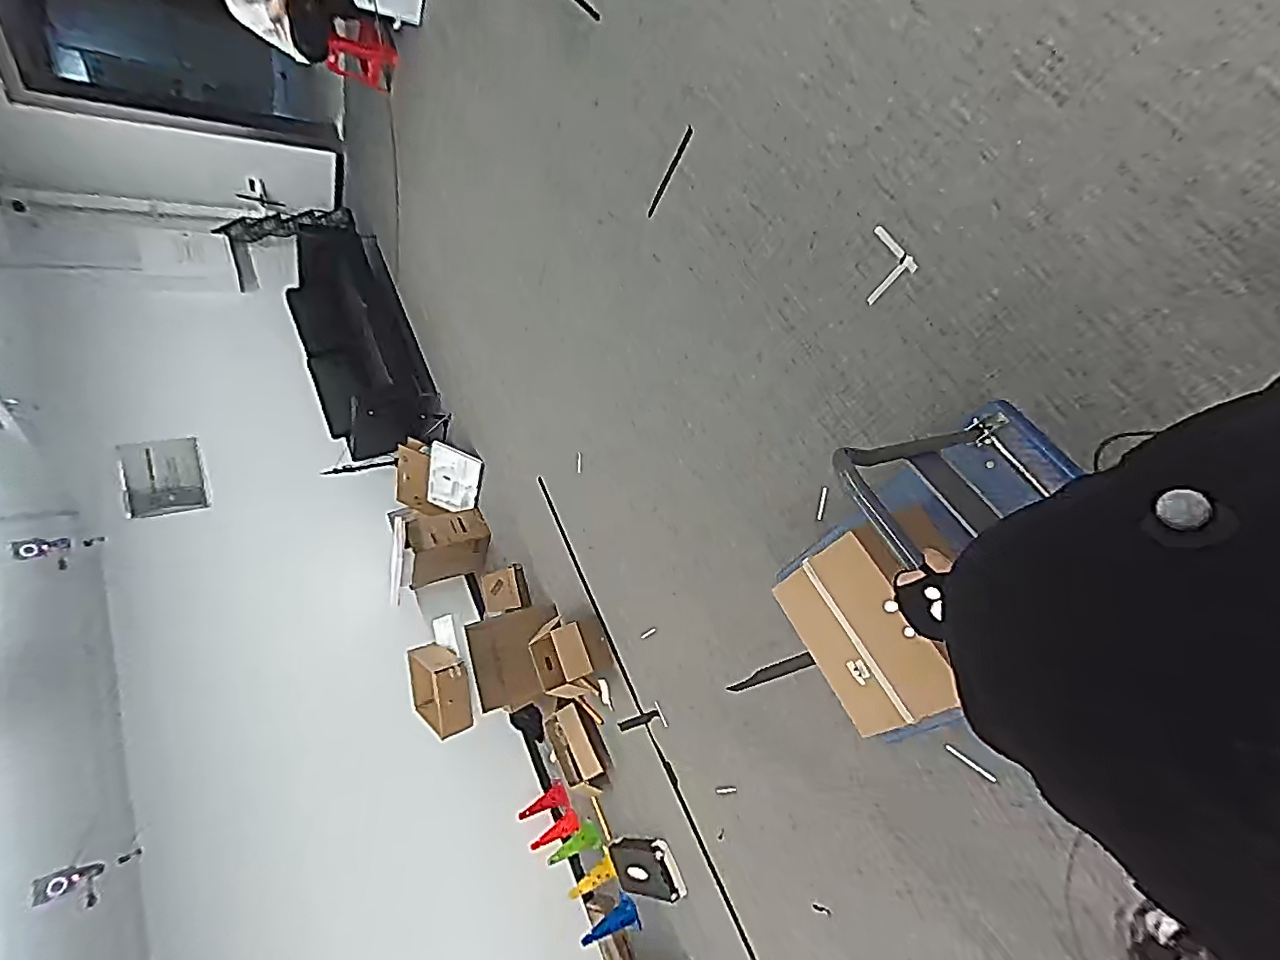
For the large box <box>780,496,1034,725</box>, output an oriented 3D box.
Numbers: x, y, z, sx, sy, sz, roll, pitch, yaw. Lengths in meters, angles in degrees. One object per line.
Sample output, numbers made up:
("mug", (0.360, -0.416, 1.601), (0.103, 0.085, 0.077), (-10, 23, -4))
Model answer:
("large box", (0.635, 0.305, 1.322), (0.408, 0.320, 0.320), (60, 141, 22))
